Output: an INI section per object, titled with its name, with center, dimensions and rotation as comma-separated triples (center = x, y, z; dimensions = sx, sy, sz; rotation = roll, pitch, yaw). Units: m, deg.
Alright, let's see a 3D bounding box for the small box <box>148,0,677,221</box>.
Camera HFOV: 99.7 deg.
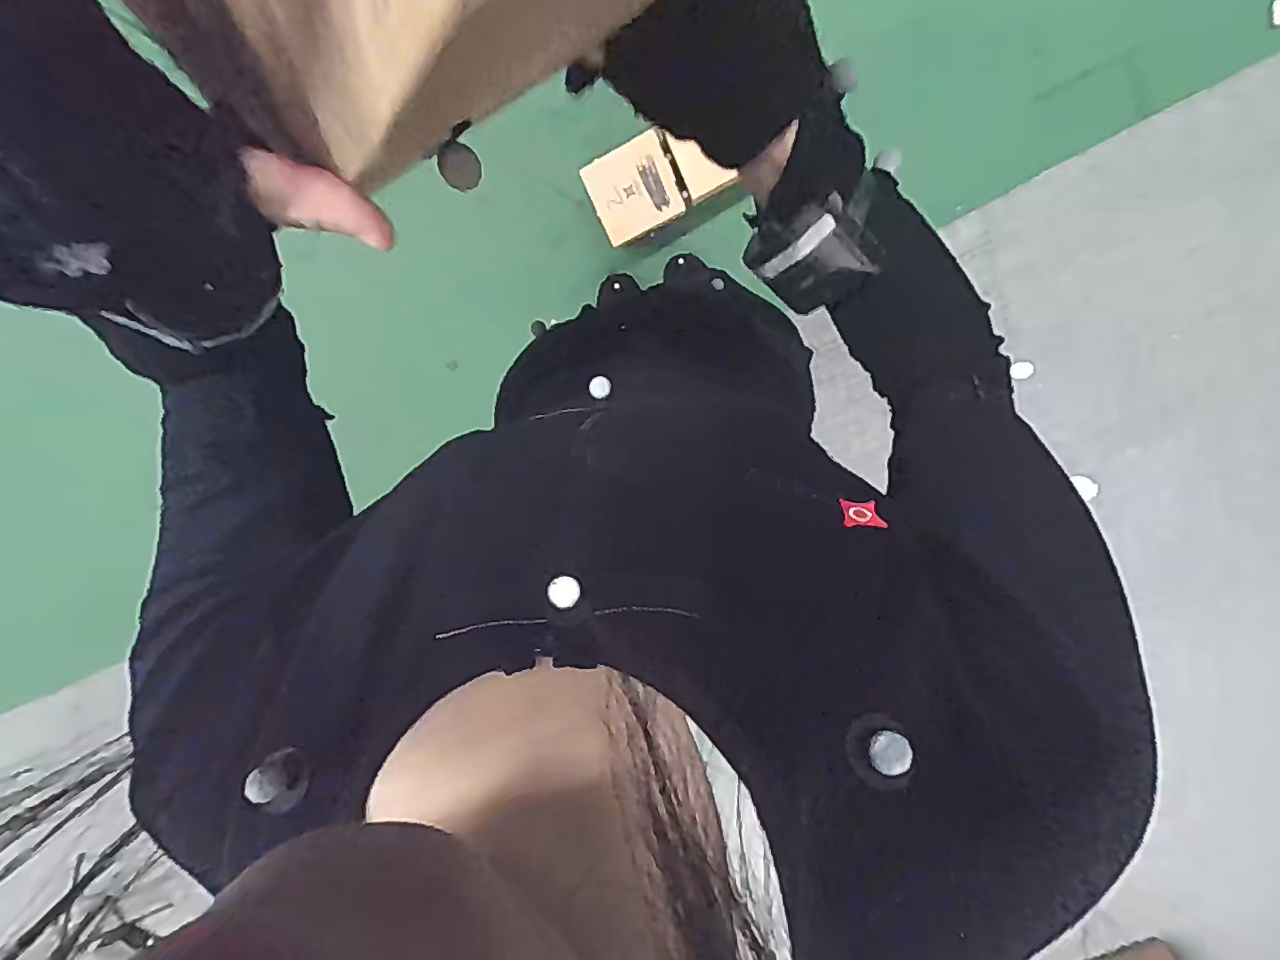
[small box]
center = -0.052, -0.196, 0.128
dimensions = 0.179, 0.176, 0.168
rotation = -48, 127, -17
